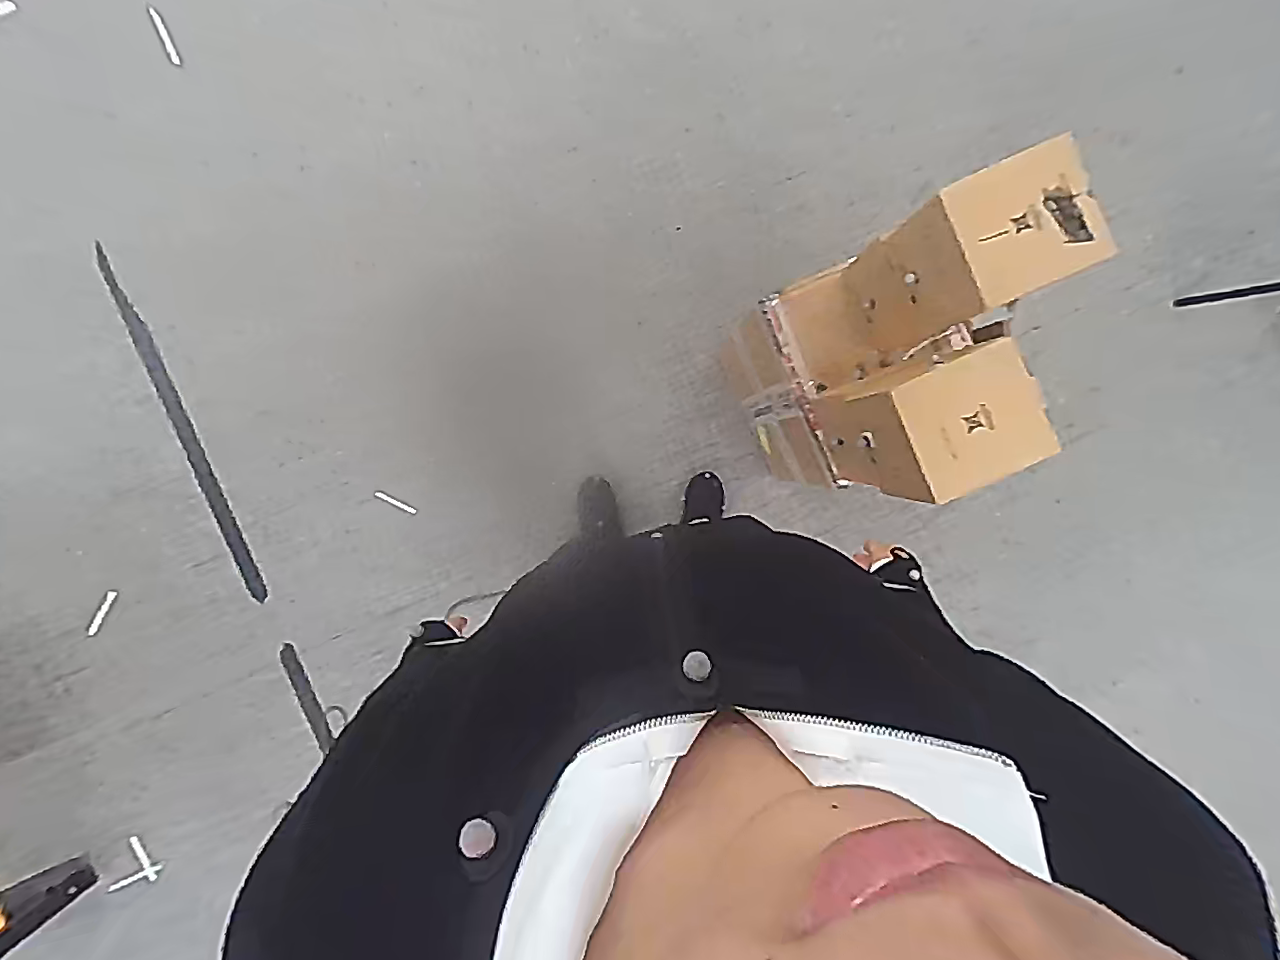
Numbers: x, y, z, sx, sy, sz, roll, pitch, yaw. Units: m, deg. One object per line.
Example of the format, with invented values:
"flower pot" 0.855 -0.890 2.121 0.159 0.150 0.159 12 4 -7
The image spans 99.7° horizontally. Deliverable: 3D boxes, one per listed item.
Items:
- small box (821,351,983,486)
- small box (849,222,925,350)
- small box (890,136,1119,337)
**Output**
"small box" 0.432 -0.099 0.928 0.179 0.176 0.168 -24 93 2
"small box" 0.488 -0.342 0.913 0.179 0.176 0.168 -27 91 3
"small box" 0.486 -0.320 0.750 0.179 0.176 0.168 -23 91 3
